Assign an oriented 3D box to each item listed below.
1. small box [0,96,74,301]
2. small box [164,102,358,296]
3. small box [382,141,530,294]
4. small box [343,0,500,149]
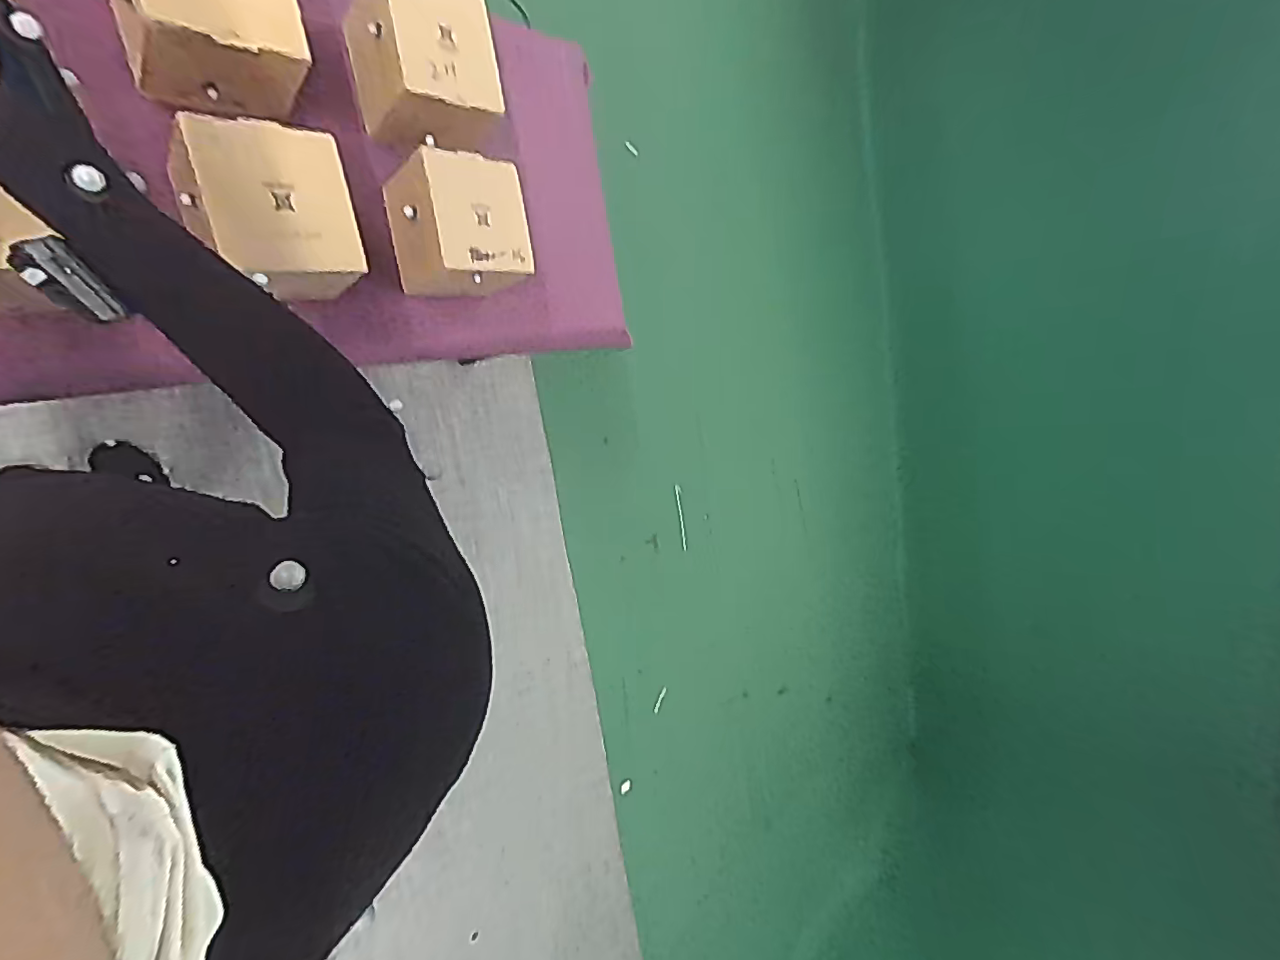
[{"bbox_3d":[-0.706,-0.278,0.533,0.168,0.176,0.179,-23,105,-41],"label":"small box"},{"bbox_3d":[-0.508,-0.356,0.724,0.168,0.176,0.179,-18,104,-41],"label":"small box"},{"bbox_3d":[-0.311,-0.425,0.906,0.168,0.176,0.179,-17,101,-41],"label":"small box"},{"bbox_3d":[-0.350,-0.666,0.862,0.168,0.176,0.179,-17,103,-41],"label":"small box"}]
